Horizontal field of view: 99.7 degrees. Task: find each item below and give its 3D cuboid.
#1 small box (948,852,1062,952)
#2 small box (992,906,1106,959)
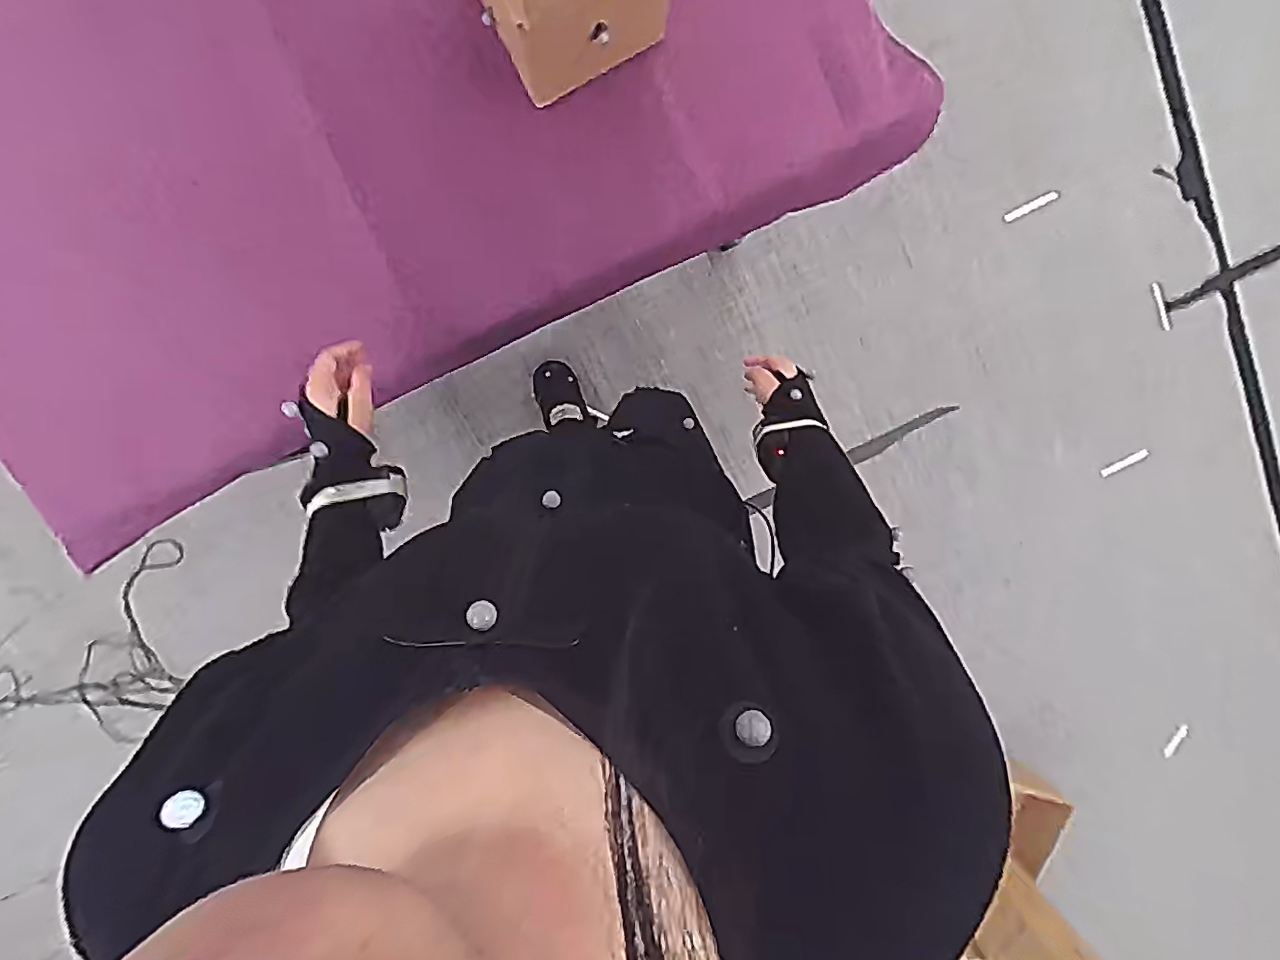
[{"bbox_3d":[1.027,1.201,1.530,0.179,0.176,0.168,20,98,-8],"label":"small box"},{"bbox_3d":[1.047,1.232,1.369,0.179,0.176,0.168,19,98,-10],"label":"small box"}]
